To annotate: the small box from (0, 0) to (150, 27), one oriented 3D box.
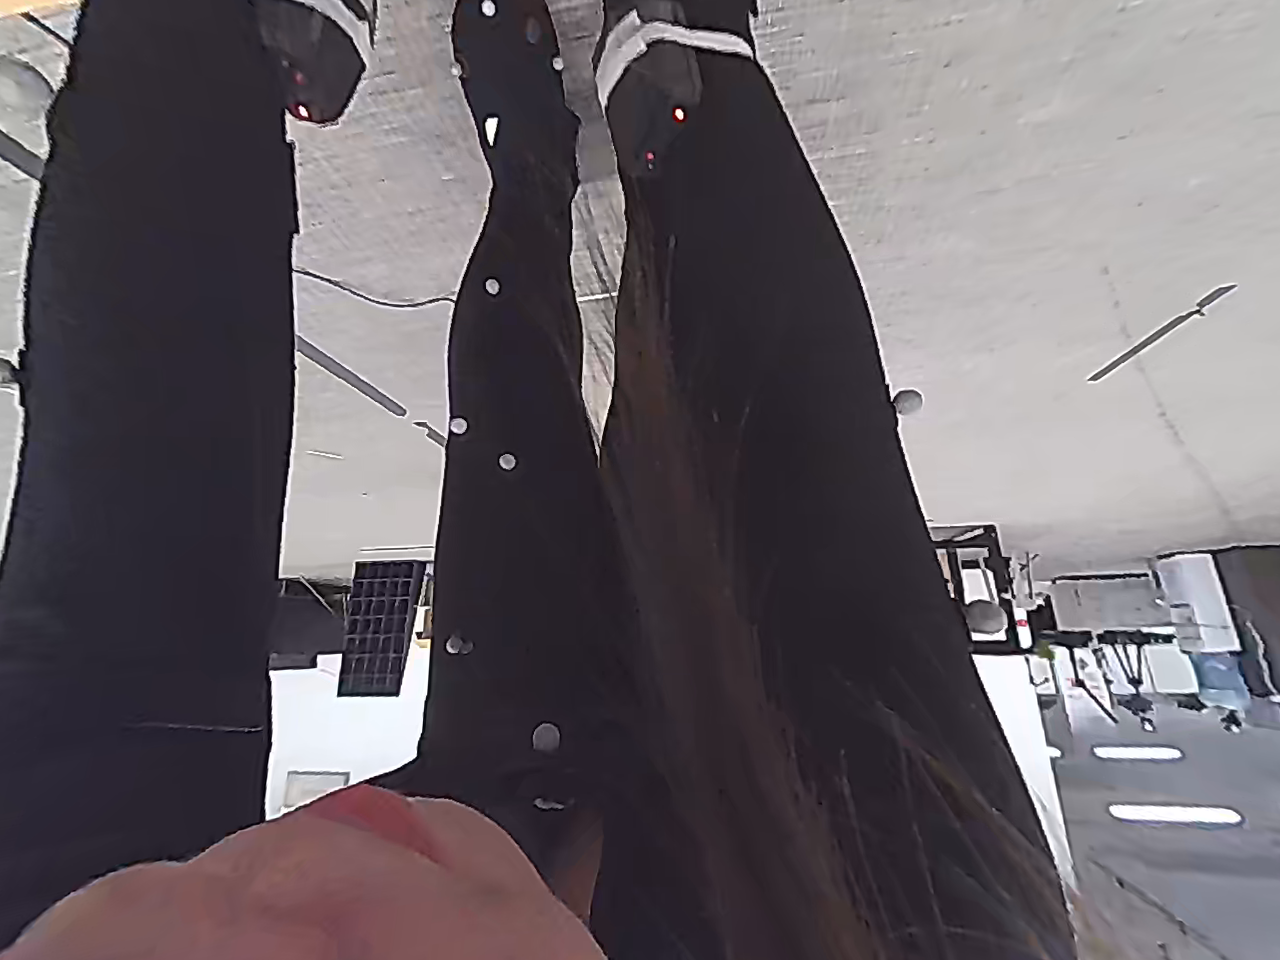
[{"bbox_3d":[-0.416,-0.450,0.342,0.168,0.176,0.179,-3,164,7],"label":"small box"}]
